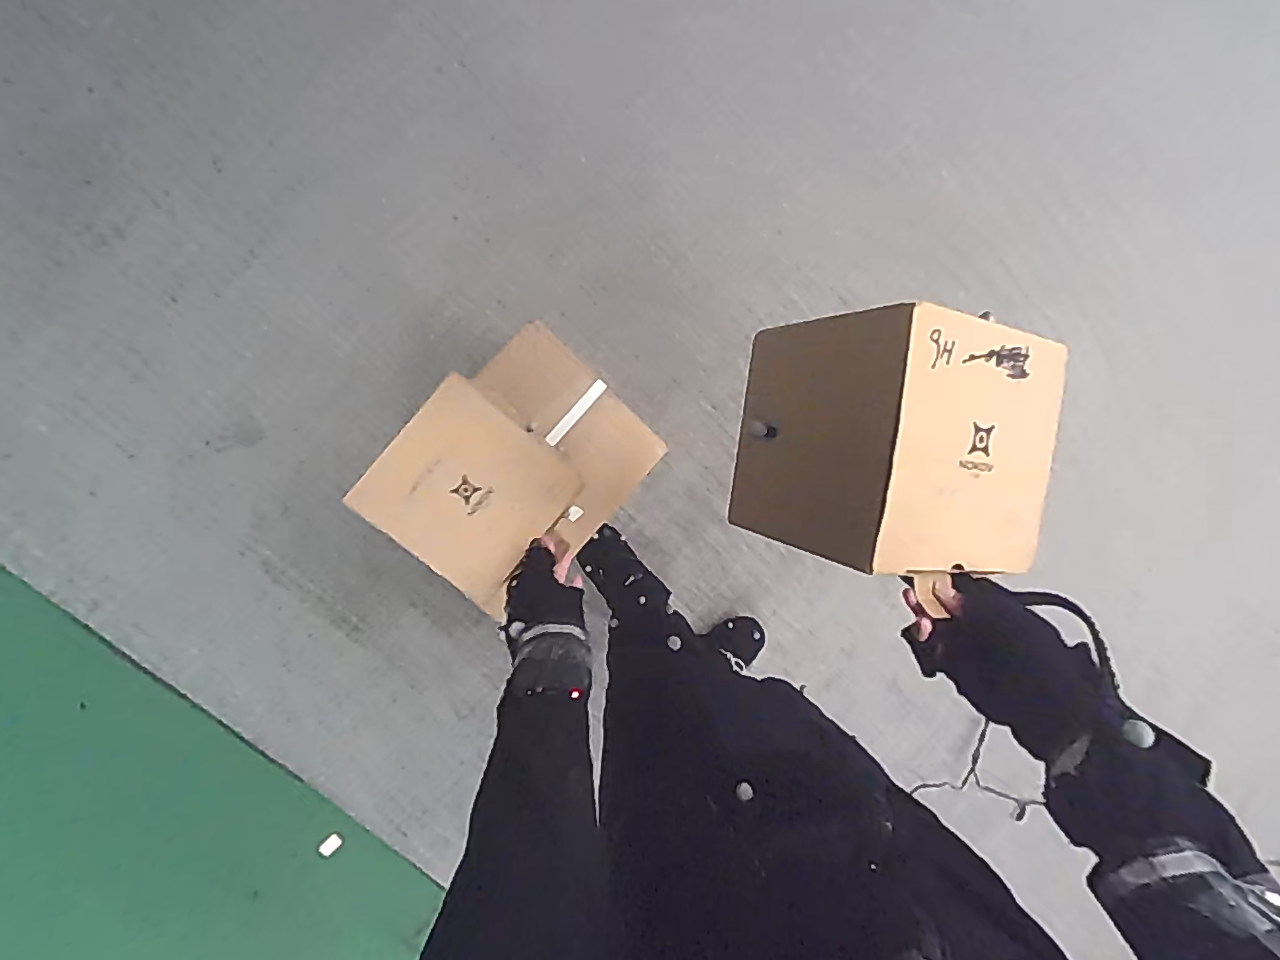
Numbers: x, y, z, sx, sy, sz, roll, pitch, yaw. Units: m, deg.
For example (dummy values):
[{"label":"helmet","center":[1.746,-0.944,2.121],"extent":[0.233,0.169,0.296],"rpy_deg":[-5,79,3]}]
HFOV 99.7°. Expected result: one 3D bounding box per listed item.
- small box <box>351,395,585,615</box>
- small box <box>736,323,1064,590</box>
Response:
[{"label":"small box","center":[-0.182,0.019,0.627],"extent":[0.179,0.176,0.168],"rpy_deg":[39,89,-10]},{"label":"small box","center":[0.198,-0.019,0.452],"extent":[0.168,0.176,0.179],"rpy_deg":[4,96,-24]}]
